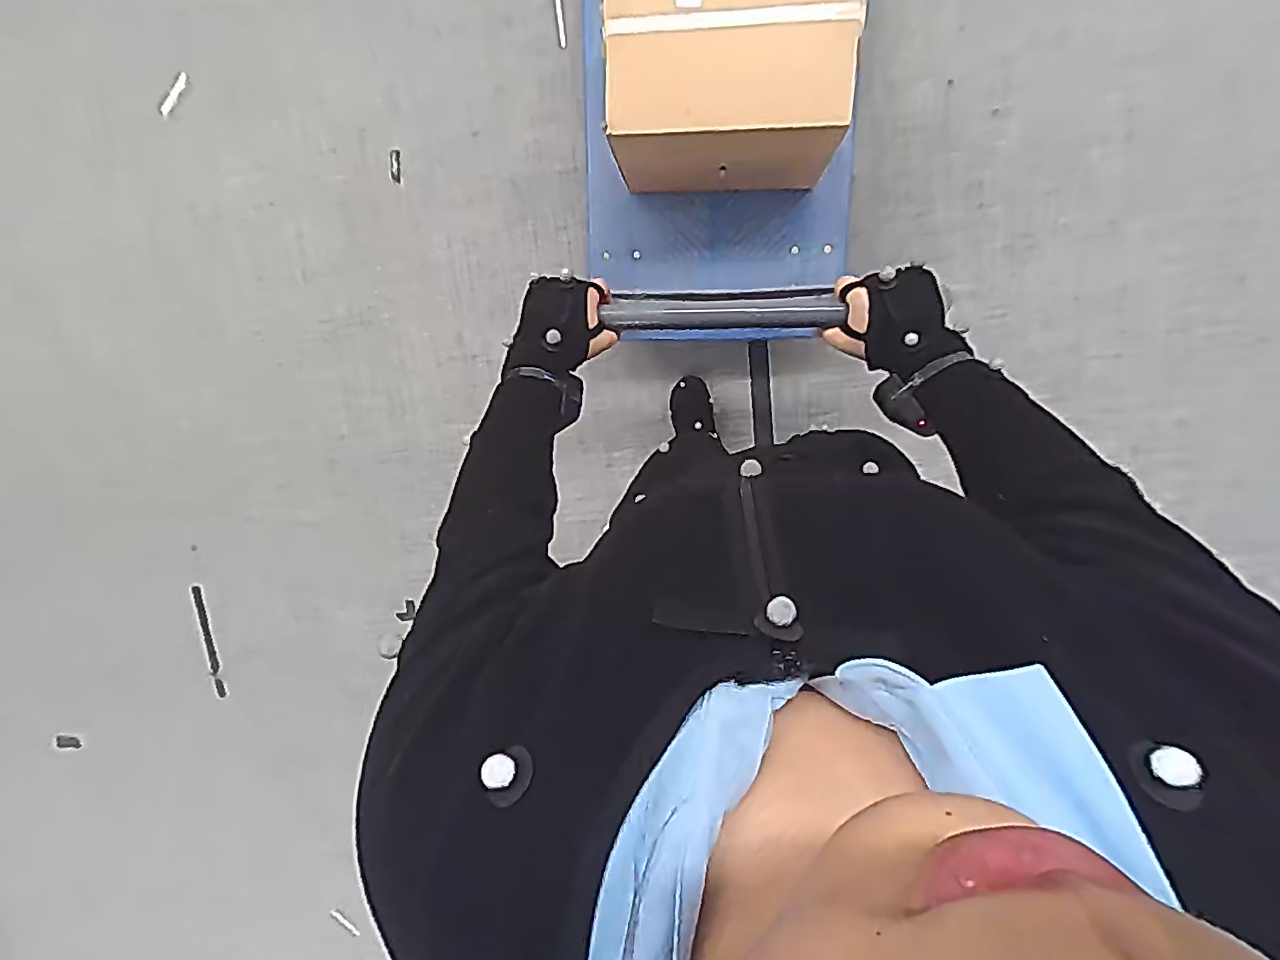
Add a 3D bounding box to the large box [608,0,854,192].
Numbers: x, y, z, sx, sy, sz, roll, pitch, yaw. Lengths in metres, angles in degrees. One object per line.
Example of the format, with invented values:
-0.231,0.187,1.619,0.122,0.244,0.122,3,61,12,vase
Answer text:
0.164,-0.766,1.029,0.408,0.320,0.320,1,101,8,large box
